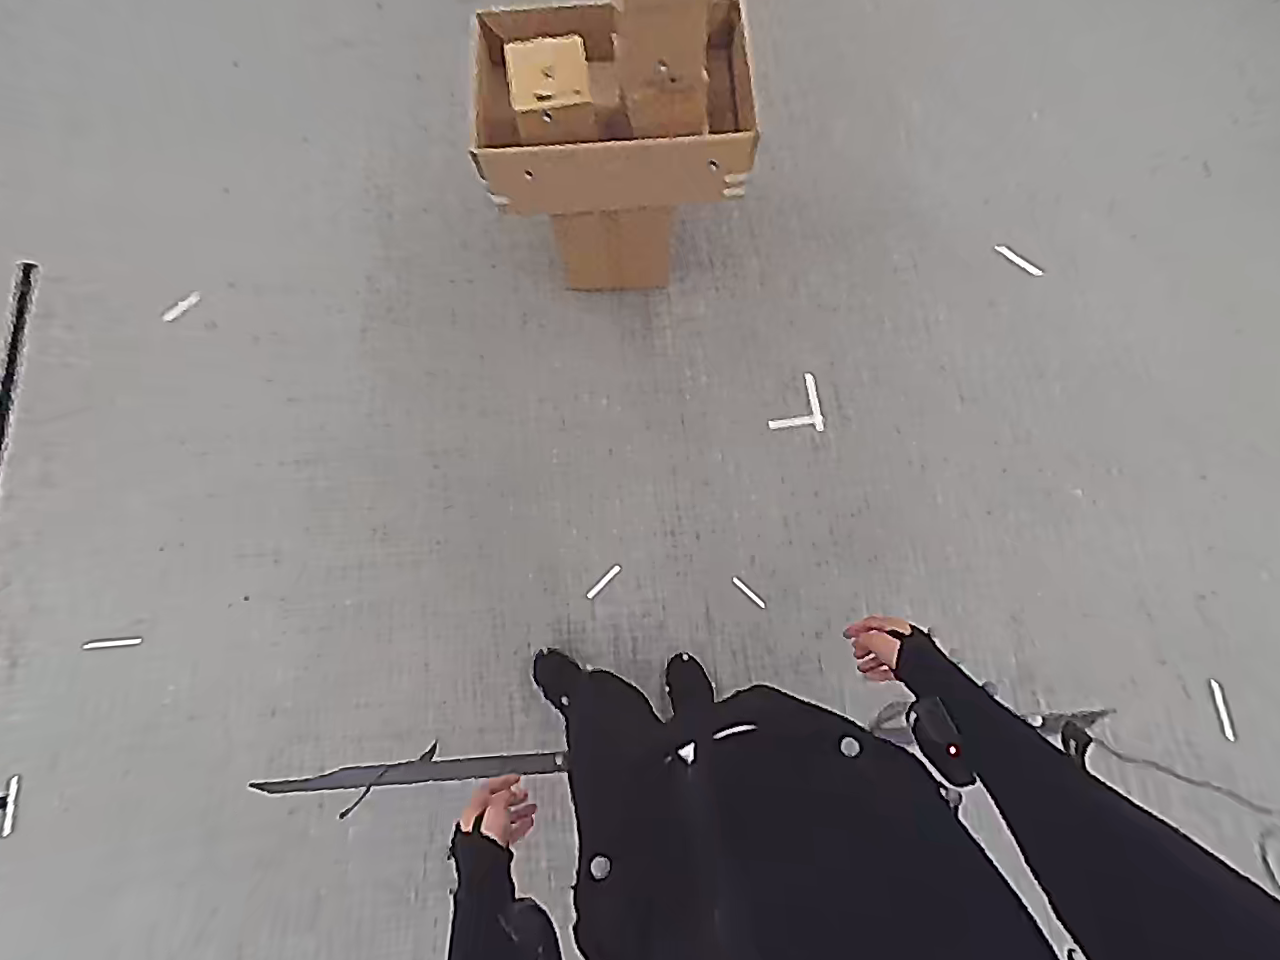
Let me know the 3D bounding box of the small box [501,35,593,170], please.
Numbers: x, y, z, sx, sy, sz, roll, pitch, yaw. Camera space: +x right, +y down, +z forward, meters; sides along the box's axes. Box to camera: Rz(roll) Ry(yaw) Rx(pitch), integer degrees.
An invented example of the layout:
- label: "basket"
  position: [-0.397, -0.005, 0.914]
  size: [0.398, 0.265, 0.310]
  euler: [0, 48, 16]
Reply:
- label: "small box"
  position: [-0.204, -0.838, 1.212]
  size: [0.168, 0.176, 0.179]
  euler: [-9, 77, 0]

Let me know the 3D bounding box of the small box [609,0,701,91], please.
- label: "small box"
  position: [0.024, -0.908, 1.055]
  size: [0.168, 0.176, 0.179]
  euler: [-5, 78, 2]
